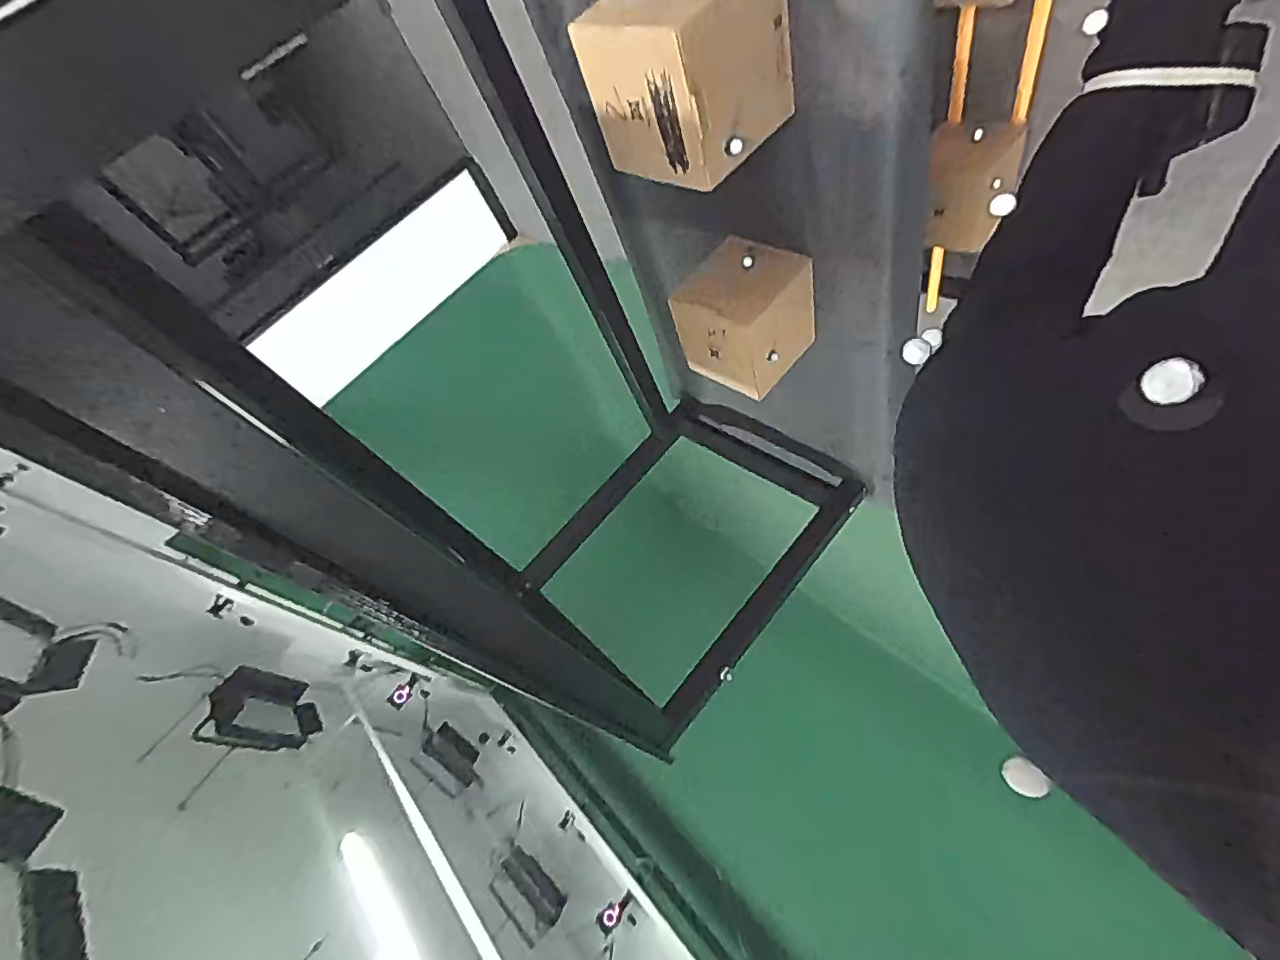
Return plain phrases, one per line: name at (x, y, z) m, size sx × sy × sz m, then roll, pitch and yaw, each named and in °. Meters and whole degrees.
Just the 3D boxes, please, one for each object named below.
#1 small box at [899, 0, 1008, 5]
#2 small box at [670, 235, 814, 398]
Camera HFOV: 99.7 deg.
small box at (0.527, -0.865, 0.820) m, size 0.179 × 0.176 × 0.168 m, roll 33°, pitch 163°, yaw 33°
small box at (0.181, -0.280, 0.924) m, size 0.168 × 0.176 × 0.179 m, roll 33°, pitch 164°, yaw 33°
